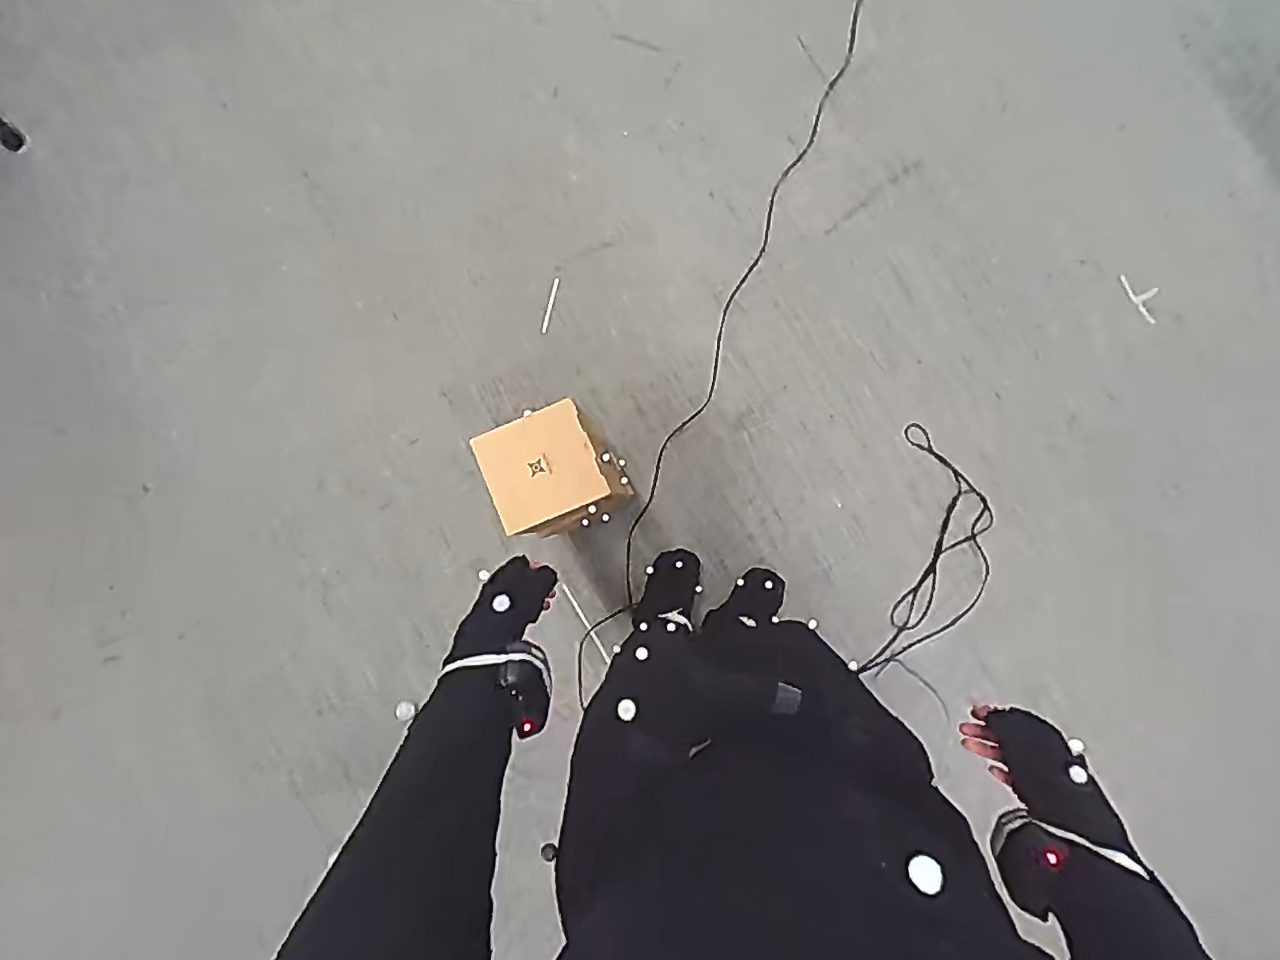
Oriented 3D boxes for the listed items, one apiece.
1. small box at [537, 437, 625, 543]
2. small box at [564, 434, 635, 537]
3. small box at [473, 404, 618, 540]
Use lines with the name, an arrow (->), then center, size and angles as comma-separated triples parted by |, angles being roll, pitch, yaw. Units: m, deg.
small box -> -0.139, 0.007, 1.076 | 0.179, 0.176, 0.168 | -28, 86, 2
small box -> -0.124, 0.016, 1.242 | 0.179, 0.176, 0.168 | -32, 84, 0
small box -> -0.149, -0.008, 0.914 | 0.179, 0.176, 0.168 | -23, 86, 1
